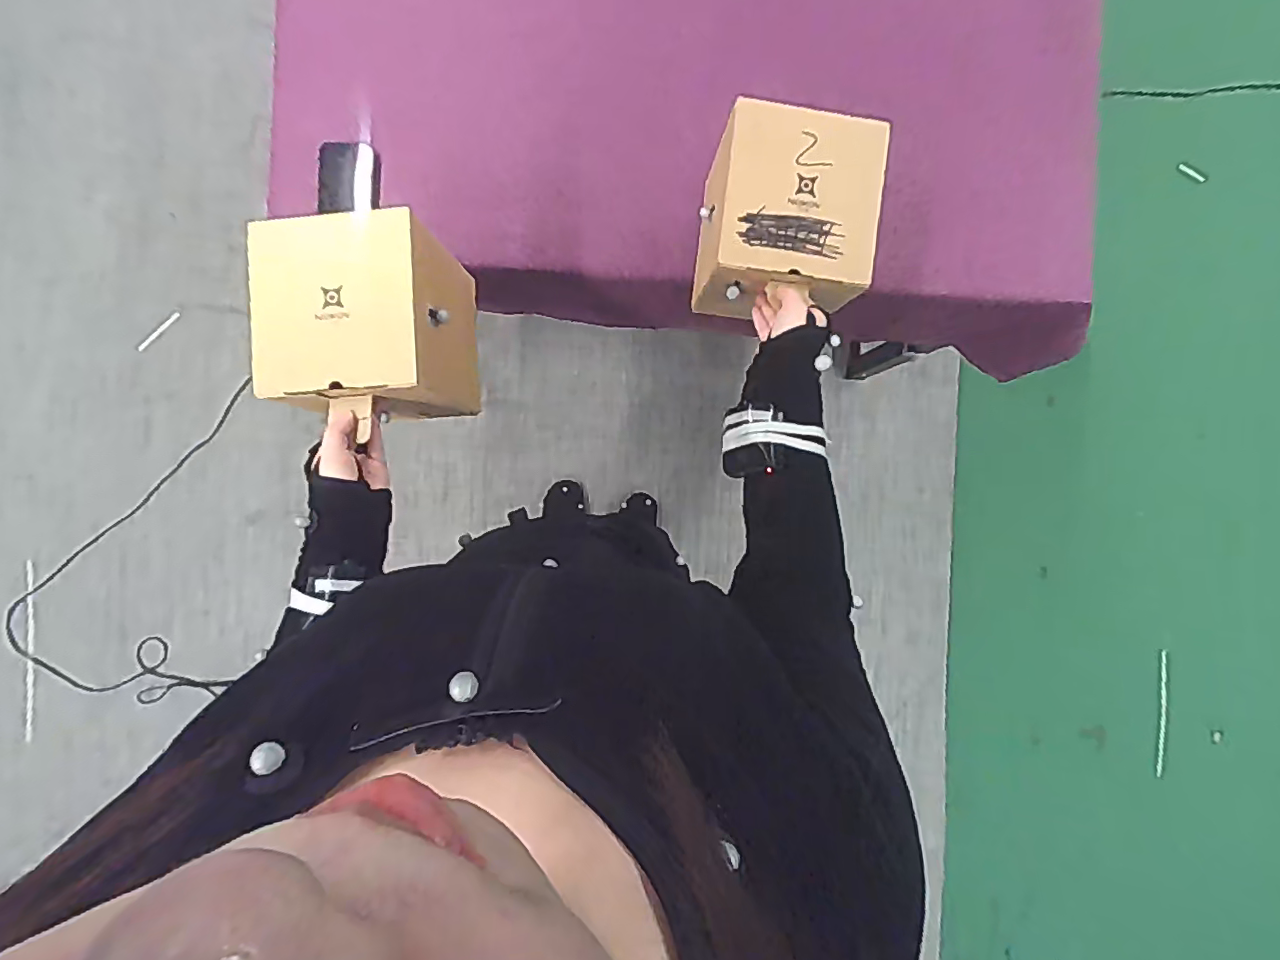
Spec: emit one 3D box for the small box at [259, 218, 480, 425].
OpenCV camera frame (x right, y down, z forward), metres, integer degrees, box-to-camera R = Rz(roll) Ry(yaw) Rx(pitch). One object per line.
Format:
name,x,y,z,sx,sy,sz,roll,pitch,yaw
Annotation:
small box,-0.289,-0.165,0.610,0.168,0.176,0.179,-3,88,3
